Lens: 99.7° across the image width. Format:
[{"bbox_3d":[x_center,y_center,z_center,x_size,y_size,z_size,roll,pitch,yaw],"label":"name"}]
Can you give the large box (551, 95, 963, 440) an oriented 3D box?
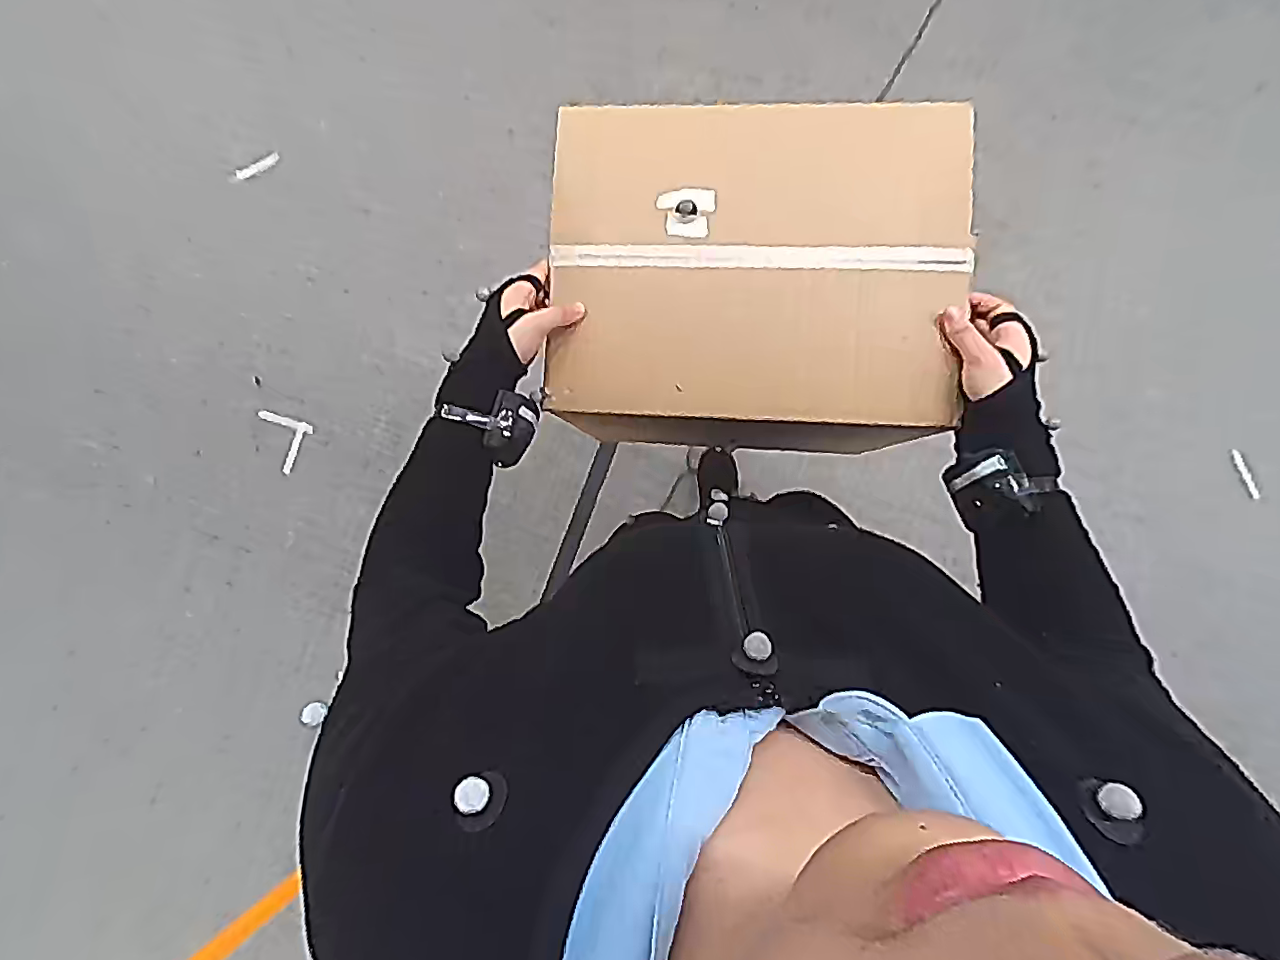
[{"bbox_3d":[0.129,-0.219,0.686,0.408,0.320,0.320,2,87,7],"label":"large box"}]
